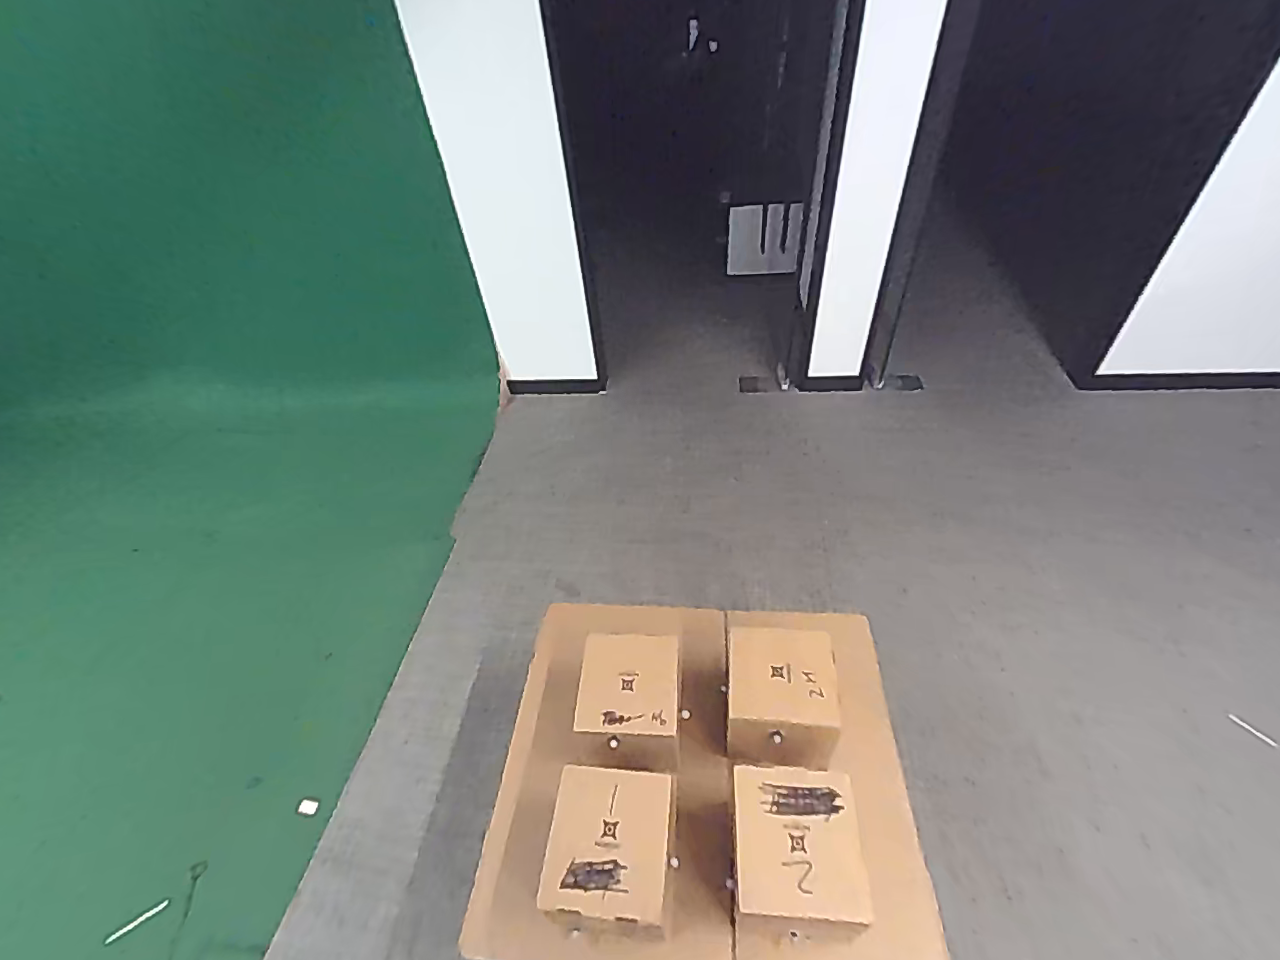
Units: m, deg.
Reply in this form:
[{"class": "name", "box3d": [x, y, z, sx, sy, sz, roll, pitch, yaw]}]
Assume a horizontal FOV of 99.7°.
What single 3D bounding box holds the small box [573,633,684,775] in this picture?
[{"class": "small box", "box3d": [-0.011, 0.393, 0.954, 0.168, 0.176, 0.179, -2, 42, 8]}]
